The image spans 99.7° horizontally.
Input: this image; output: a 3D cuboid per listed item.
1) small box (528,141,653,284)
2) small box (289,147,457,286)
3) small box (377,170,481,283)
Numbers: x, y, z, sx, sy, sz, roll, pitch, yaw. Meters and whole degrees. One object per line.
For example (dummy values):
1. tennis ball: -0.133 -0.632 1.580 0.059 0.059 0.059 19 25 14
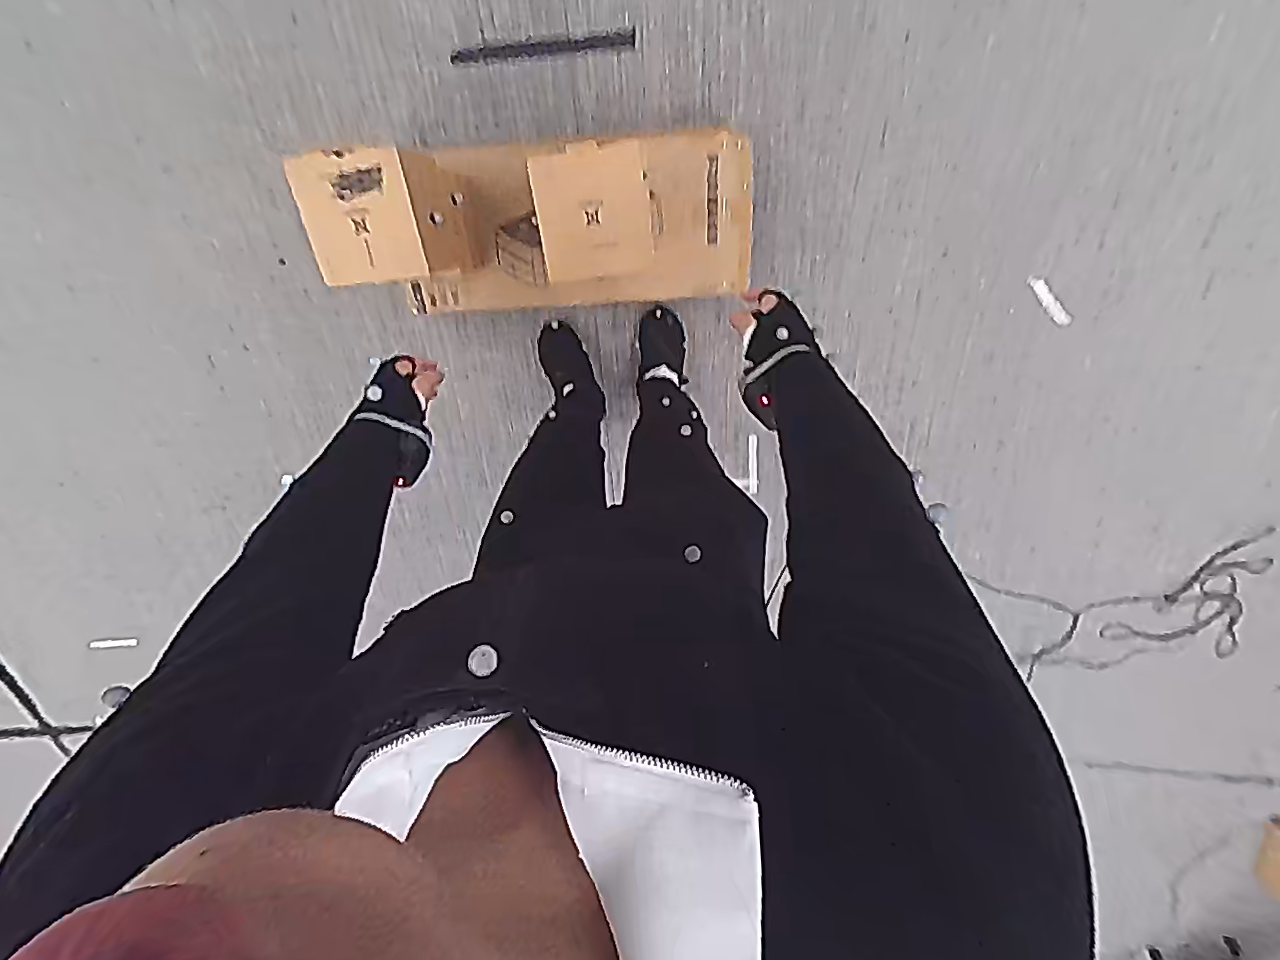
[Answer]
1. small box: -0.071 -0.428 0.877 0.168 0.176 0.179 -7 117 4
2. small box: -0.412 -0.418 0.871 0.168 0.176 0.179 -5 117 1
3. small box: -0.413 -0.477 1.024 0.168 0.176 0.179 -4 116 0
